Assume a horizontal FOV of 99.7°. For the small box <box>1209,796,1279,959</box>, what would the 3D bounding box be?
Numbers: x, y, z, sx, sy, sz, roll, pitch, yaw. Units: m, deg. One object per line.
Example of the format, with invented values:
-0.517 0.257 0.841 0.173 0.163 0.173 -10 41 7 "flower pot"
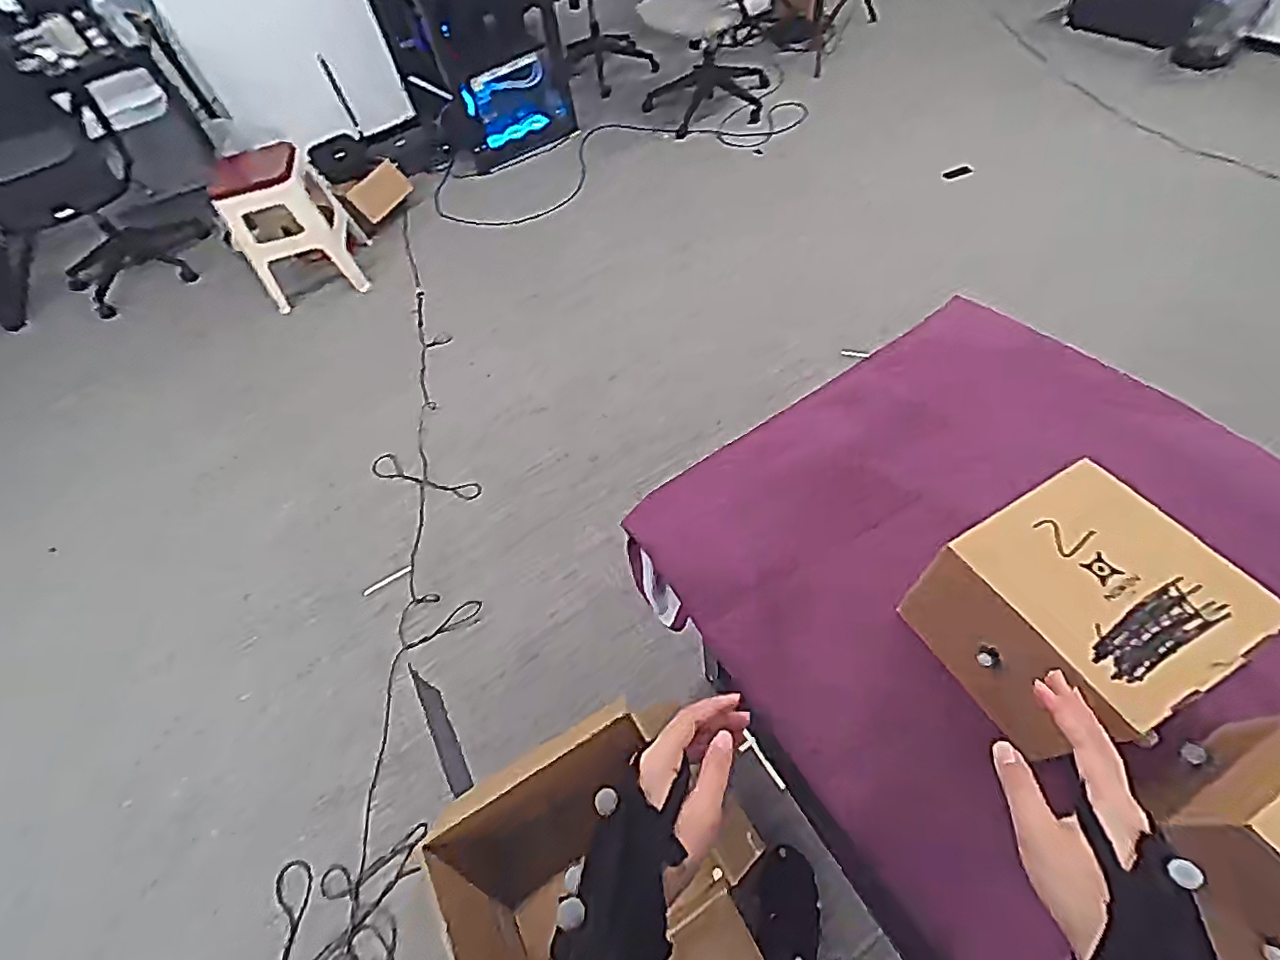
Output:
0.534 0.309 0.333 0.179 0.176 0.168 31 106 30 "small box"
